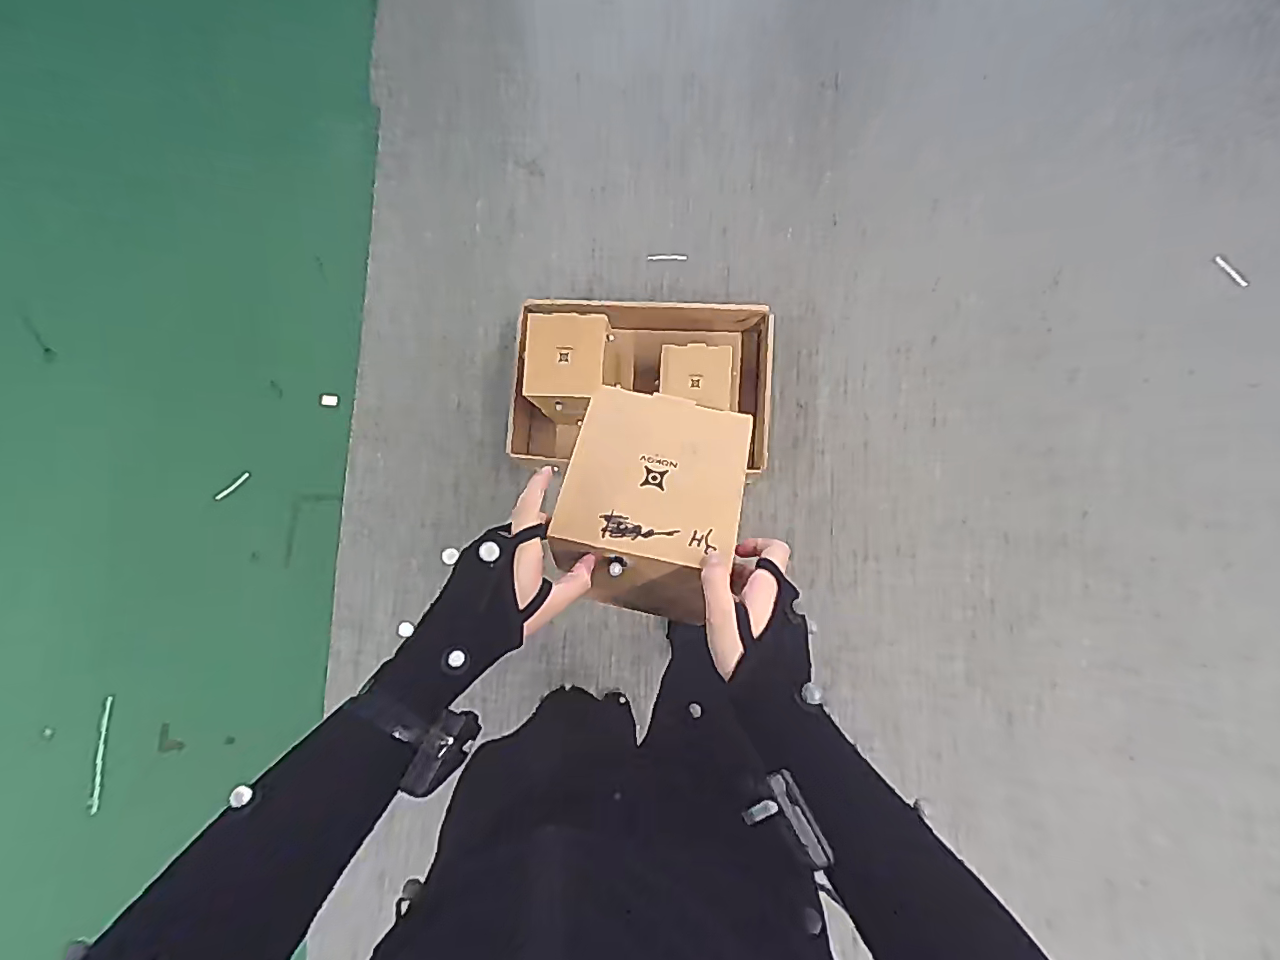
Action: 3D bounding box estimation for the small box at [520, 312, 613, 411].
[{"bbox_3d":[-0.154,-0.249,1.181,0.168,0.176,0.179,3,85,5],"label":"small box"}]

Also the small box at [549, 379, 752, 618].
[{"bbox_3d":[0.012,0.026,0.576,0.168,0.176,0.179,12,60,4],"label":"small box"}]

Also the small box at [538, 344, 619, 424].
[{"bbox_3d":[-0.145,-0.234,1.342,0.168,0.176,0.179,4,84,4],"label":"small box"}]
